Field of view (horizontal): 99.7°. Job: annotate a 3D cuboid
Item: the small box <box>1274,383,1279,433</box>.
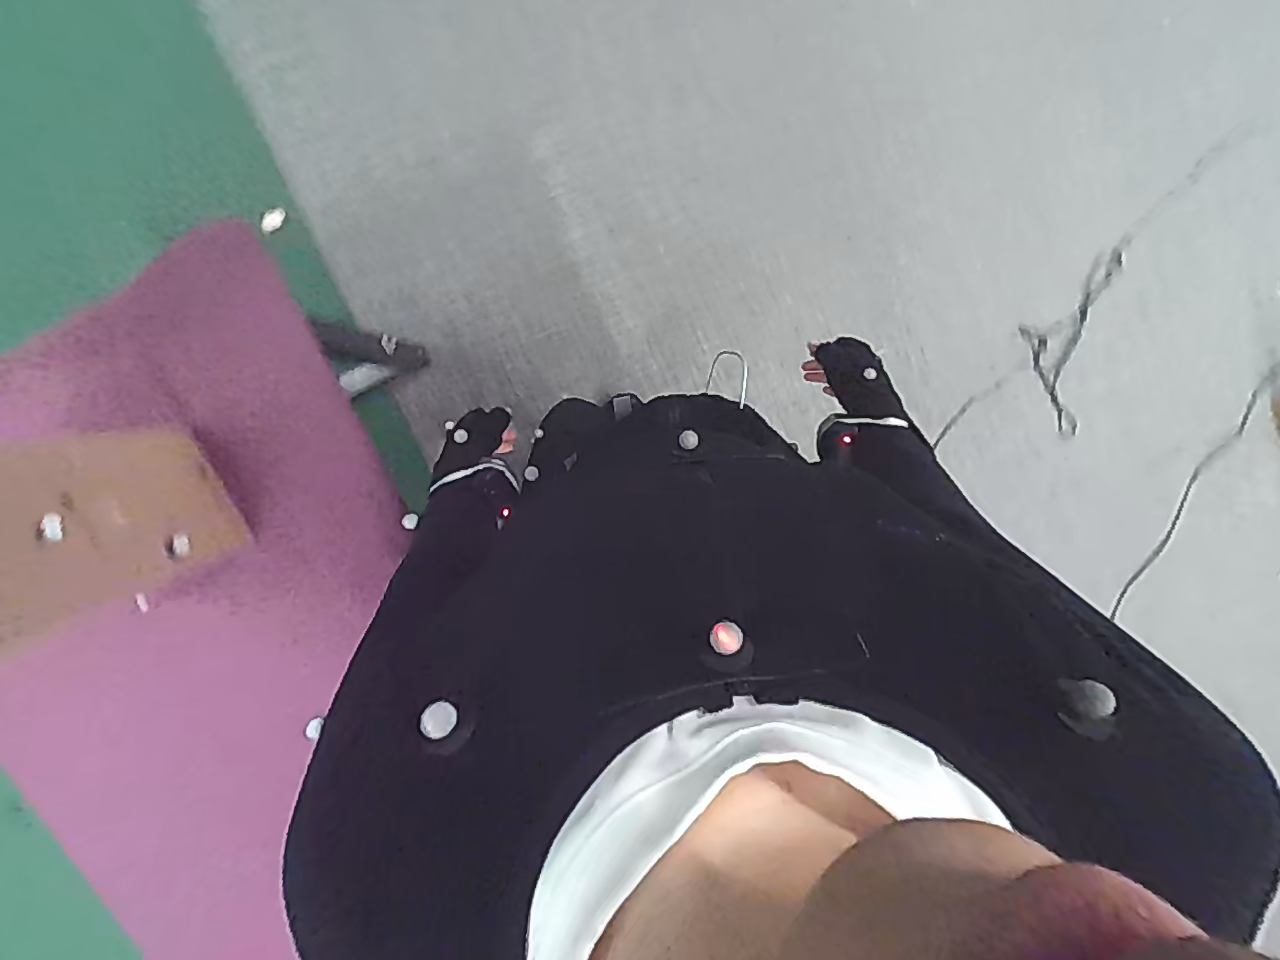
[{"bbox_3d":[1.952,-0.220,1.516,0.179,0.176,0.168,-26,103,2],"label":"small box"}]
